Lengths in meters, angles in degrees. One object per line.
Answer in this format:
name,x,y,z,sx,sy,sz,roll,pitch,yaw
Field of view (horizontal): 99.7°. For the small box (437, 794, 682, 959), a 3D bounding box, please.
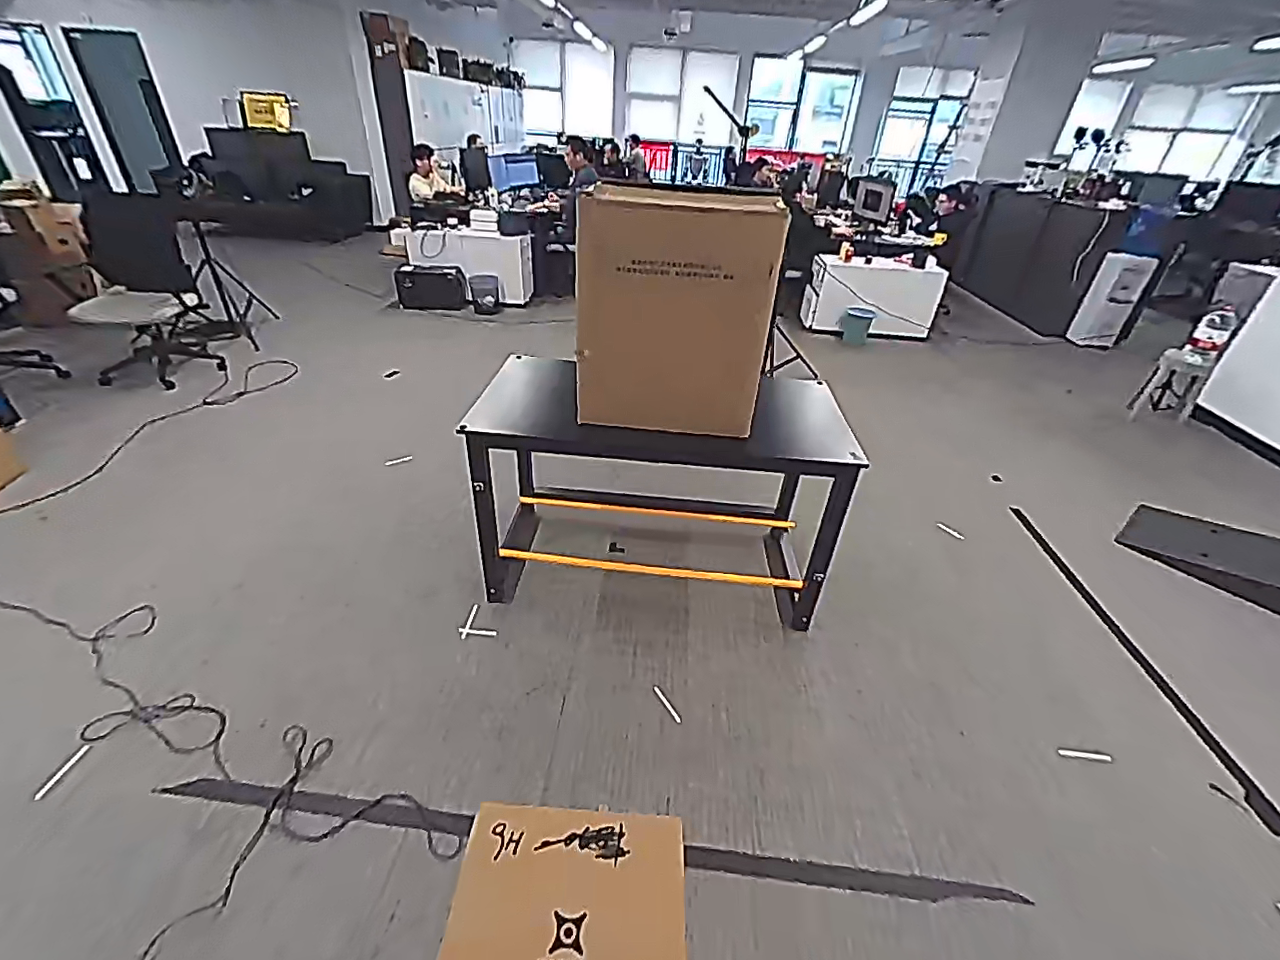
small box,-0.056,0.376,0.418,0.168,0.176,0.179,4,37,-1
